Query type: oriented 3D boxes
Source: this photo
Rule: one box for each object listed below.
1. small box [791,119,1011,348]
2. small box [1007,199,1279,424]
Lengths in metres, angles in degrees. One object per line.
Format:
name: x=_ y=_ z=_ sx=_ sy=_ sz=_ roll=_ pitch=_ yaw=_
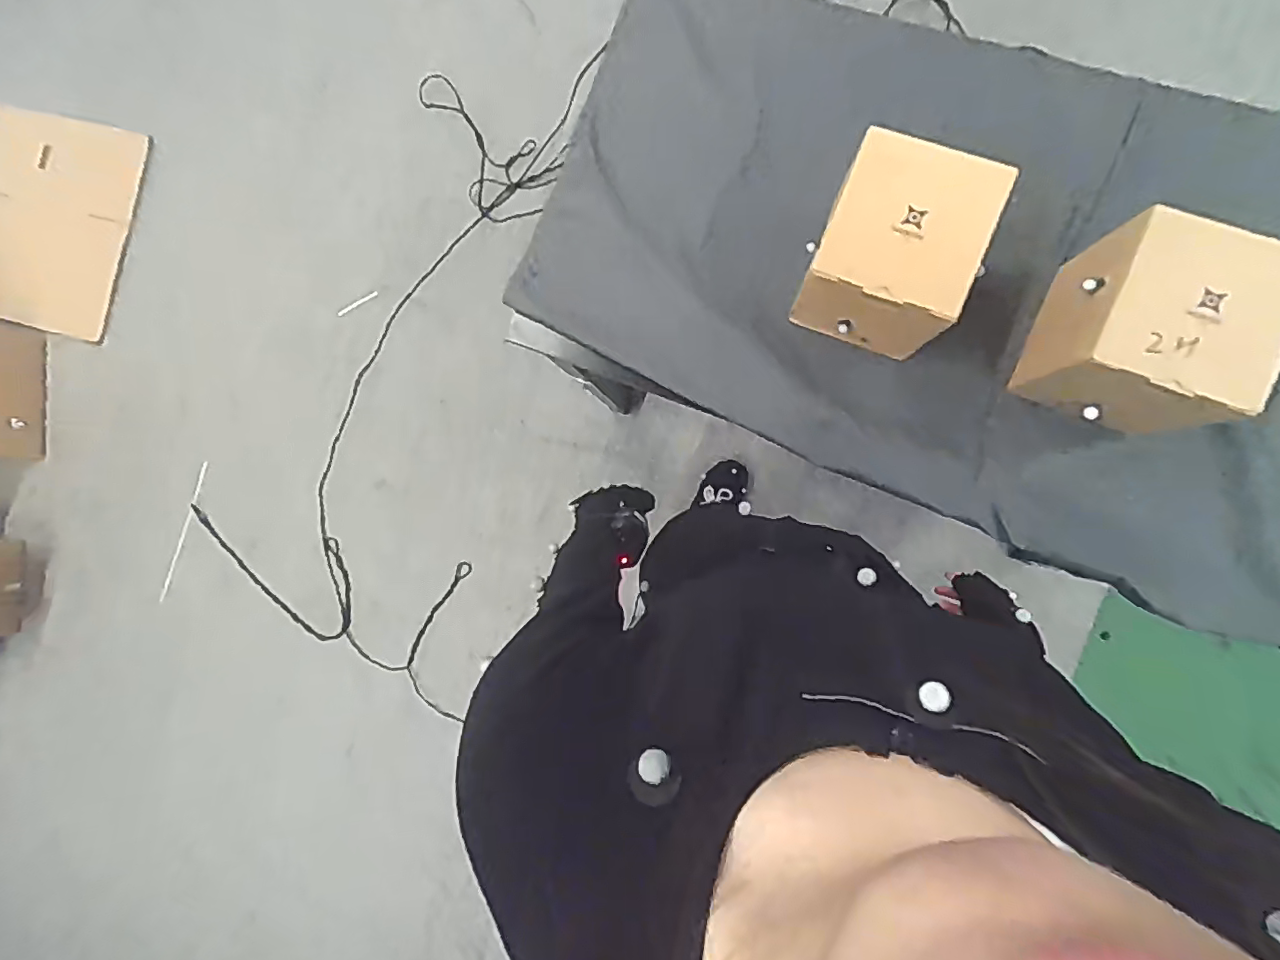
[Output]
small box: x=0.302 y=-0.288 z=0.669 sx=0.168 sy=0.176 sz=0.179 roll=22 pitch=92 yaw=6
small box: x=0.578 y=-0.181 z=0.633 sx=0.168 sy=0.176 sz=0.179 roll=22 pitch=91 yaw=7
